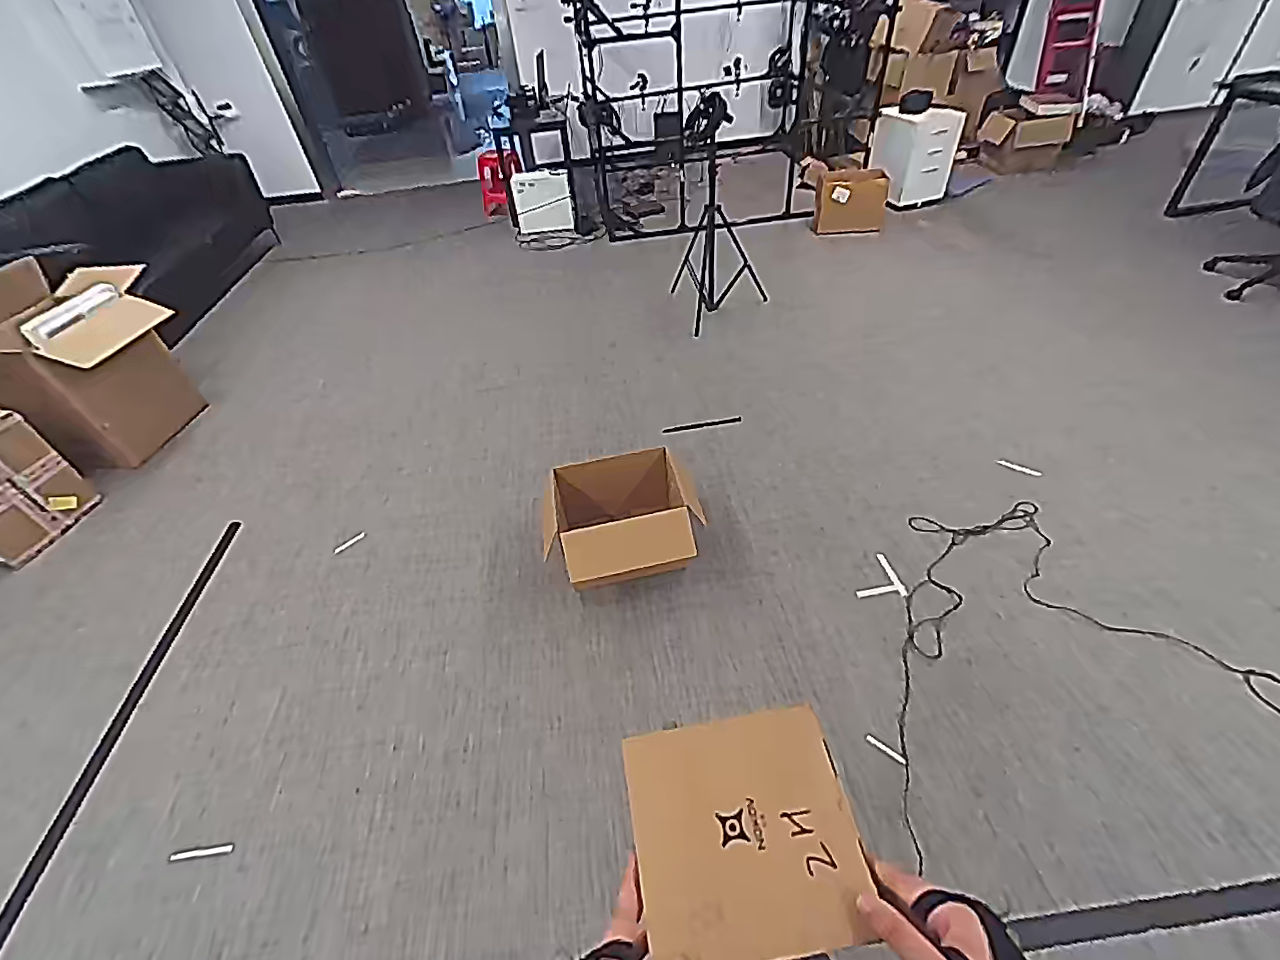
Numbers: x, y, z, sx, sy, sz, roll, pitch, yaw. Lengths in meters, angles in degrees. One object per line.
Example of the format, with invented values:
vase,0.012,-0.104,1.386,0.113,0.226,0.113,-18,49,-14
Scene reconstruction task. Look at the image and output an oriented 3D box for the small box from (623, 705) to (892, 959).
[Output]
small box,0.087,0.324,0.484,0.179,0.176,0.168,-9,50,-3
